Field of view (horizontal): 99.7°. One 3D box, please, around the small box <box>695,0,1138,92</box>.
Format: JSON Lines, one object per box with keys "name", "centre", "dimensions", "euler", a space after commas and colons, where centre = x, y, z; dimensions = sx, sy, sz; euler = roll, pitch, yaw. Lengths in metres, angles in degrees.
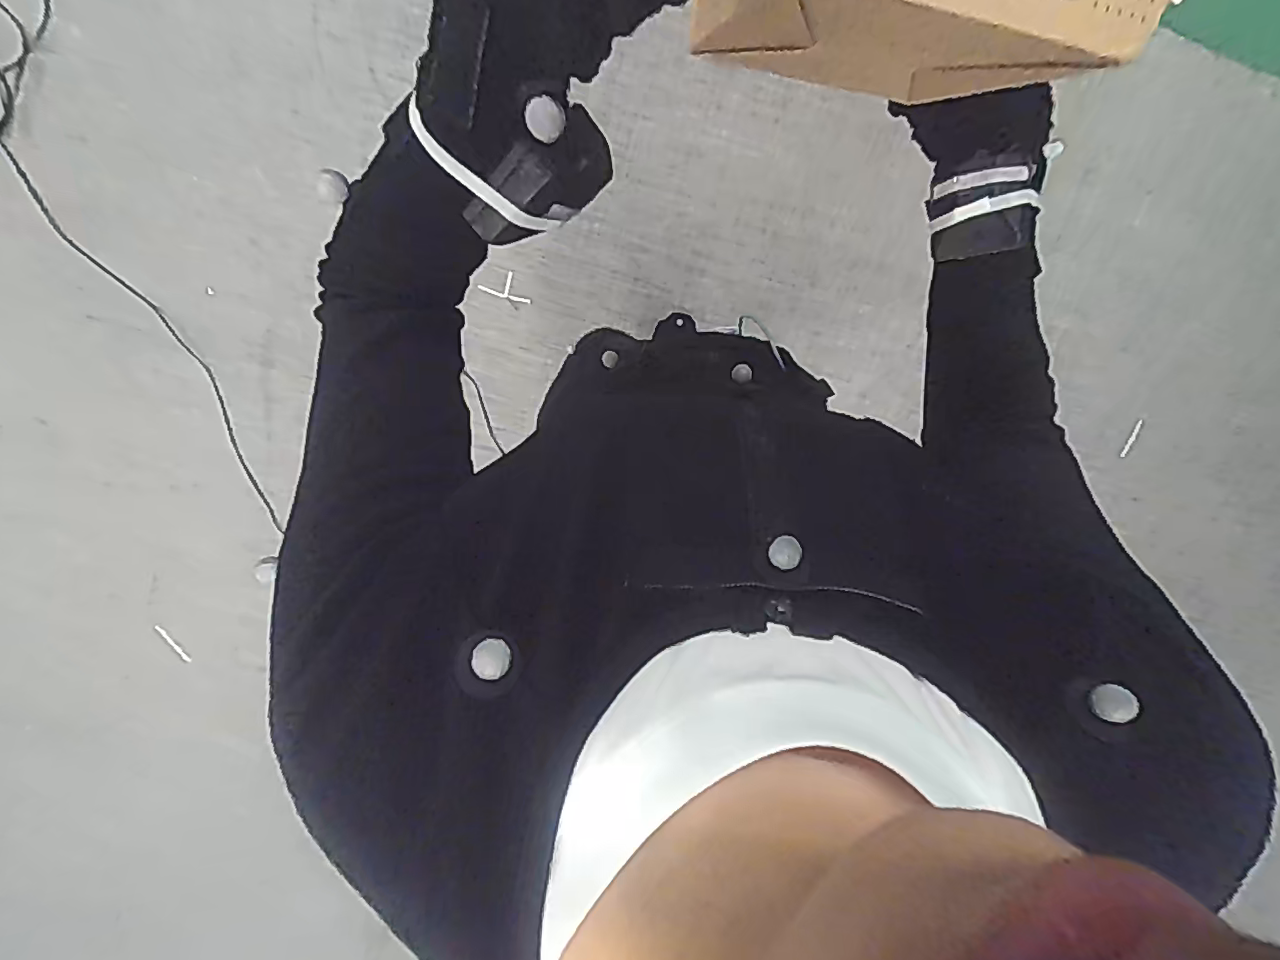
{"name": "small box", "centre": [0.135, -0.304, 0.258], "dimensions": [0.168, 0.179, 0.176], "euler": [2, 120, -13]}
